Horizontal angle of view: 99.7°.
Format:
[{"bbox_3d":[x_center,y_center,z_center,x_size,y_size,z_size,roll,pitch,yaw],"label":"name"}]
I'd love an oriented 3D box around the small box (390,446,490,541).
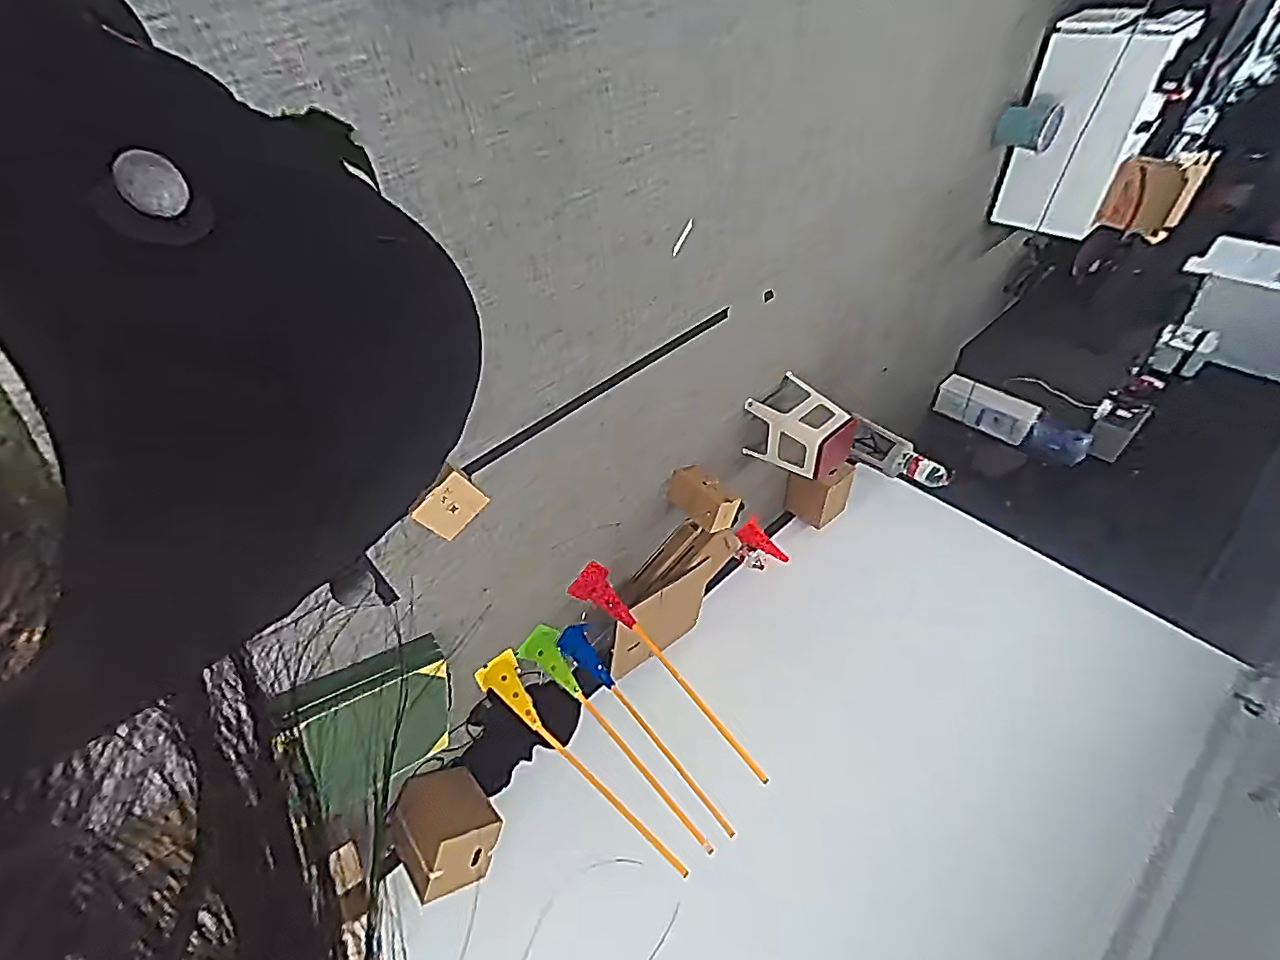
[{"bbox_3d":[-0.566,0.034,1.533,0.168,0.176,0.179,-45,142,-12],"label":"small box"}]
